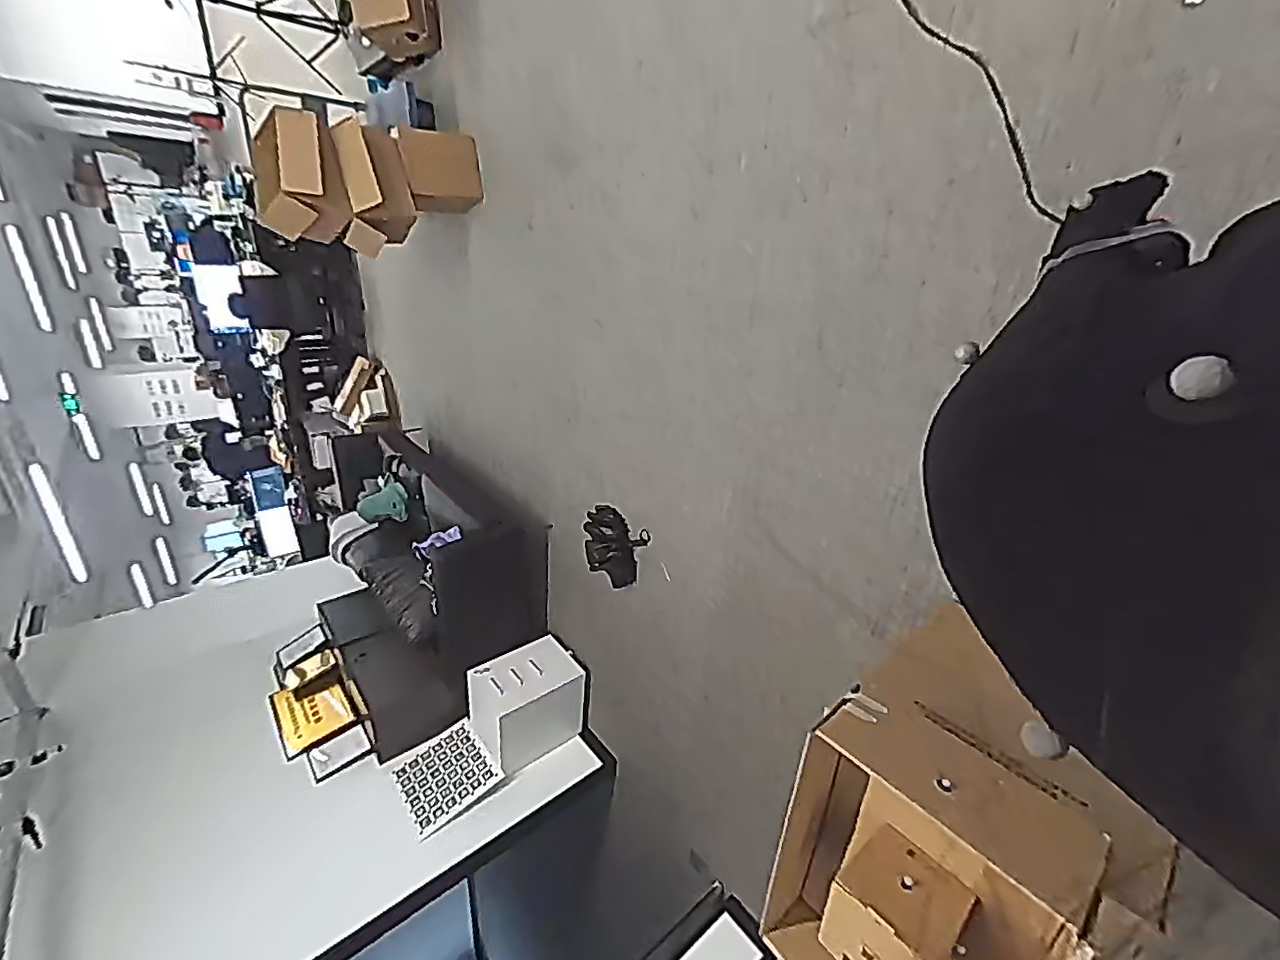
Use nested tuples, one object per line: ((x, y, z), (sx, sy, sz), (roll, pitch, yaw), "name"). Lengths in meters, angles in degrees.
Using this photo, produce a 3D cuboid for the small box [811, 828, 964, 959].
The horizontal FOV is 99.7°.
((0.426, 0.754, 0.930), (0.168, 0.176, 0.179), (27, 122, 45), "small box")
